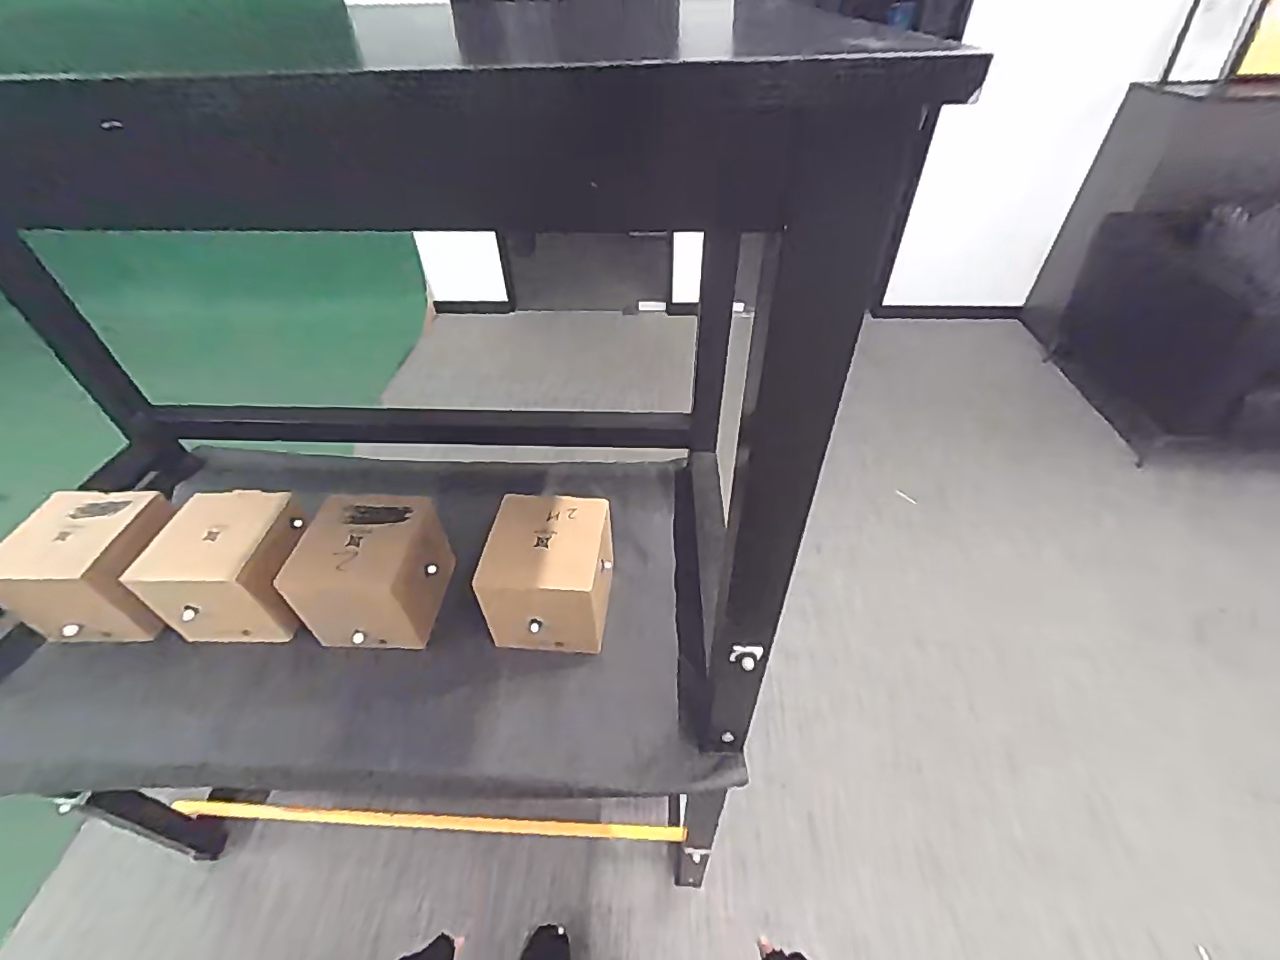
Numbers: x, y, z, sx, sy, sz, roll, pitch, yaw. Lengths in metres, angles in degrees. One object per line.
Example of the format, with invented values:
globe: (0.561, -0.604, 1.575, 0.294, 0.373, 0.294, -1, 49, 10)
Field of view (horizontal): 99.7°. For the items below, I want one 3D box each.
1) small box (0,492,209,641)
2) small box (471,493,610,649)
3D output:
small box: (-0.849, 0.137, 0.868, 0.168, 0.176, 0.179, -1, 43, 1)
small box: (-0.140, 0.142, 0.840, 0.168, 0.176, 0.179, 3, 43, 4)
